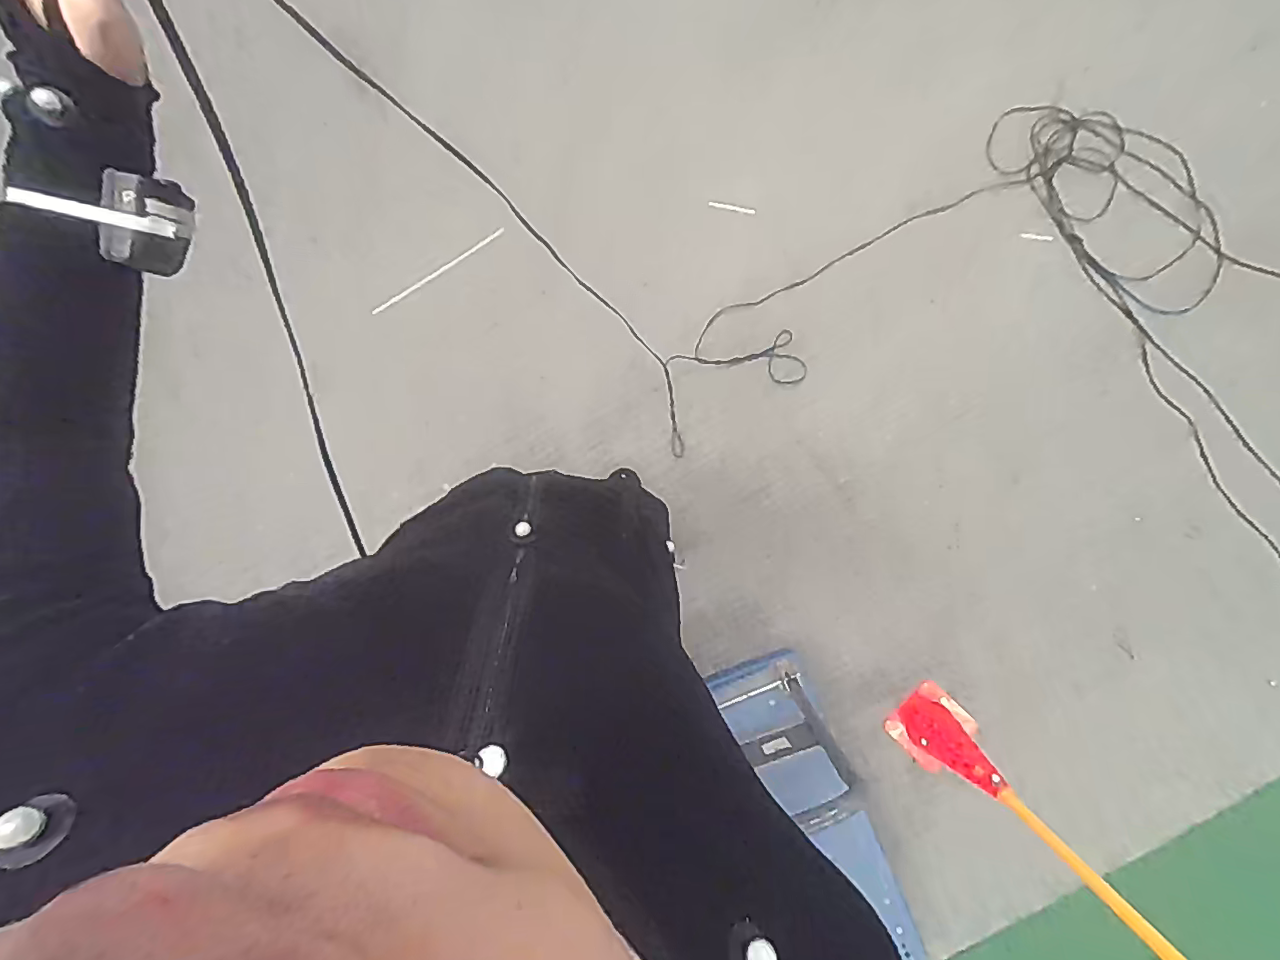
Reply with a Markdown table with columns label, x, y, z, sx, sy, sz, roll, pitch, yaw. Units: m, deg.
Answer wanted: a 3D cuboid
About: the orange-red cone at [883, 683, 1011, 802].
| label | x | y | z | sx | sy | sz | roll | pitch | yaw |
| --- | --- | --- | --- | --- | --- | --- | --- | --- | --- |
| orange-red cone | 0.826 | 0.710 | 1.395 | 0.199 | 0.360 | 0.198 | -45 | 89 | 0 |
